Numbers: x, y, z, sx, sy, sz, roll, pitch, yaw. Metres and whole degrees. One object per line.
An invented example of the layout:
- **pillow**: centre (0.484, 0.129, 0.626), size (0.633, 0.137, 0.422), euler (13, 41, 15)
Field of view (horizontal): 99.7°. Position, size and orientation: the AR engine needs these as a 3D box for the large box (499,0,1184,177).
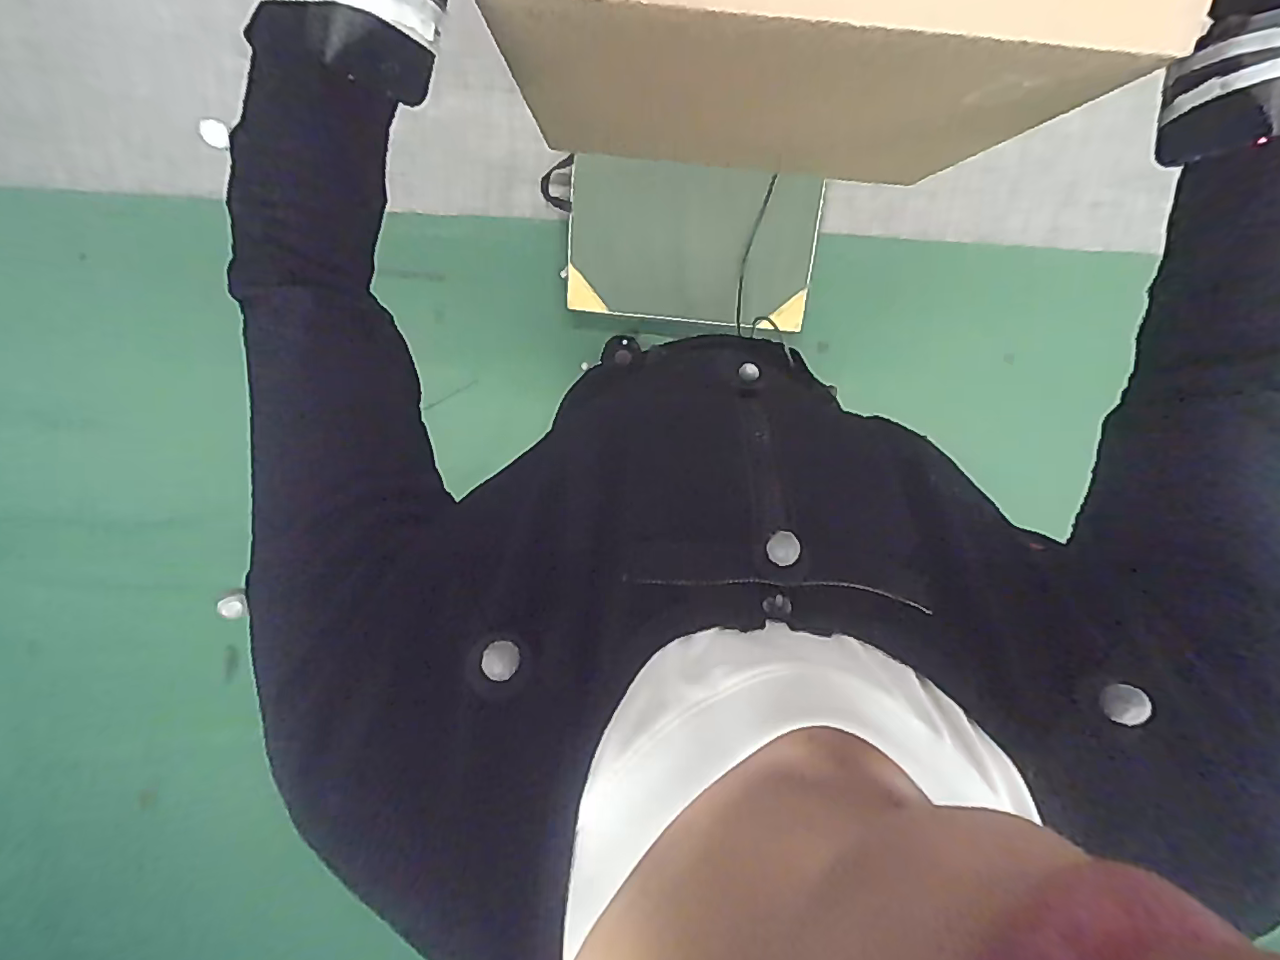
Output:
- **large box**: centre (0.114, -0.447, 0.406), size (0.408, 0.320, 0.320), euler (3, 107, -3)
